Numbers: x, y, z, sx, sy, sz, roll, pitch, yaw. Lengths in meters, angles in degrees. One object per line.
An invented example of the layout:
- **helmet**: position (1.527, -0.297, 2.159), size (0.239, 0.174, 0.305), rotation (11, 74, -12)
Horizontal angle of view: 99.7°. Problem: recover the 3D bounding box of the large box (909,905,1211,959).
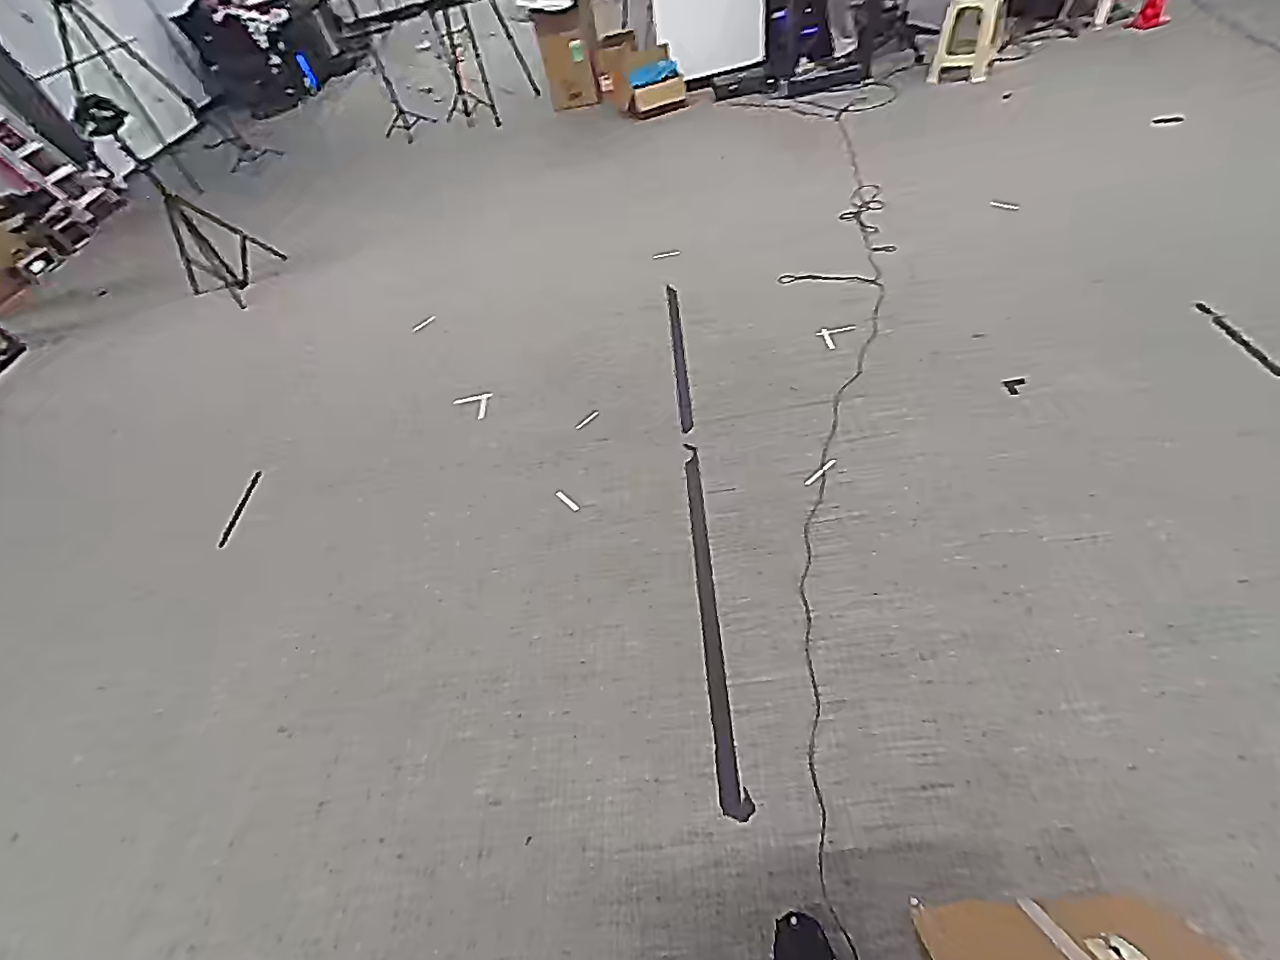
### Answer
- **large box**: position (0.525, 0.708, 0.542), size (0.320, 0.408, 0.320), rotation (-10, 72, 9)
